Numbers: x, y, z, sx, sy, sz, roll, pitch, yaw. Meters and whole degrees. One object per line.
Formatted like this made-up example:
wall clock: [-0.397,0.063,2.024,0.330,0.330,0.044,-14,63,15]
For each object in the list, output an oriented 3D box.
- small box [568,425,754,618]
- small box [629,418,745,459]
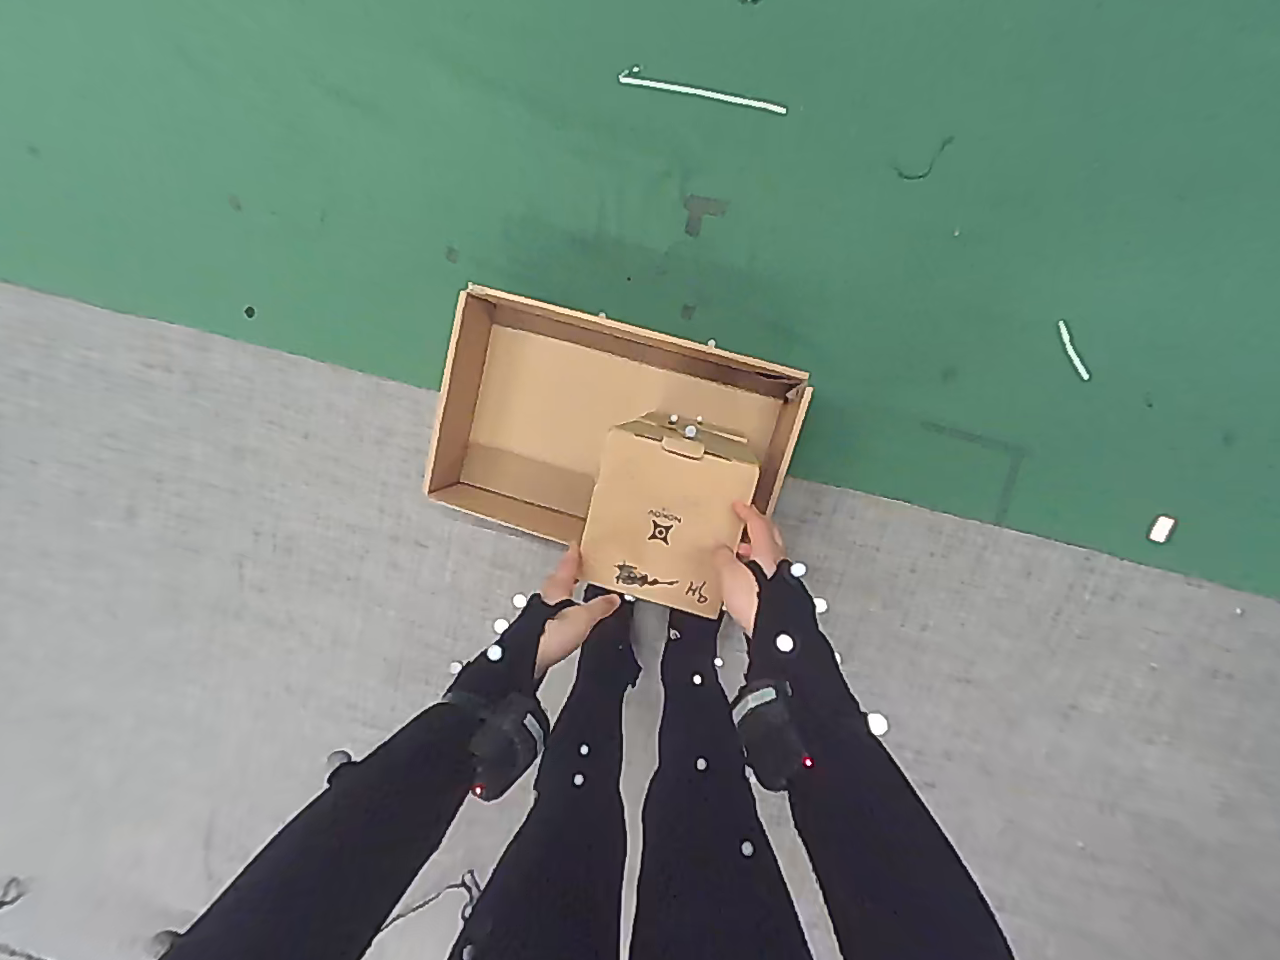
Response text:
small box: [0.028,0.036,0.651,0.168,0.176,0.179,15,99,5]
small box: [0.048,0.011,0.812,0.168,0.176,0.179,18,101,5]
